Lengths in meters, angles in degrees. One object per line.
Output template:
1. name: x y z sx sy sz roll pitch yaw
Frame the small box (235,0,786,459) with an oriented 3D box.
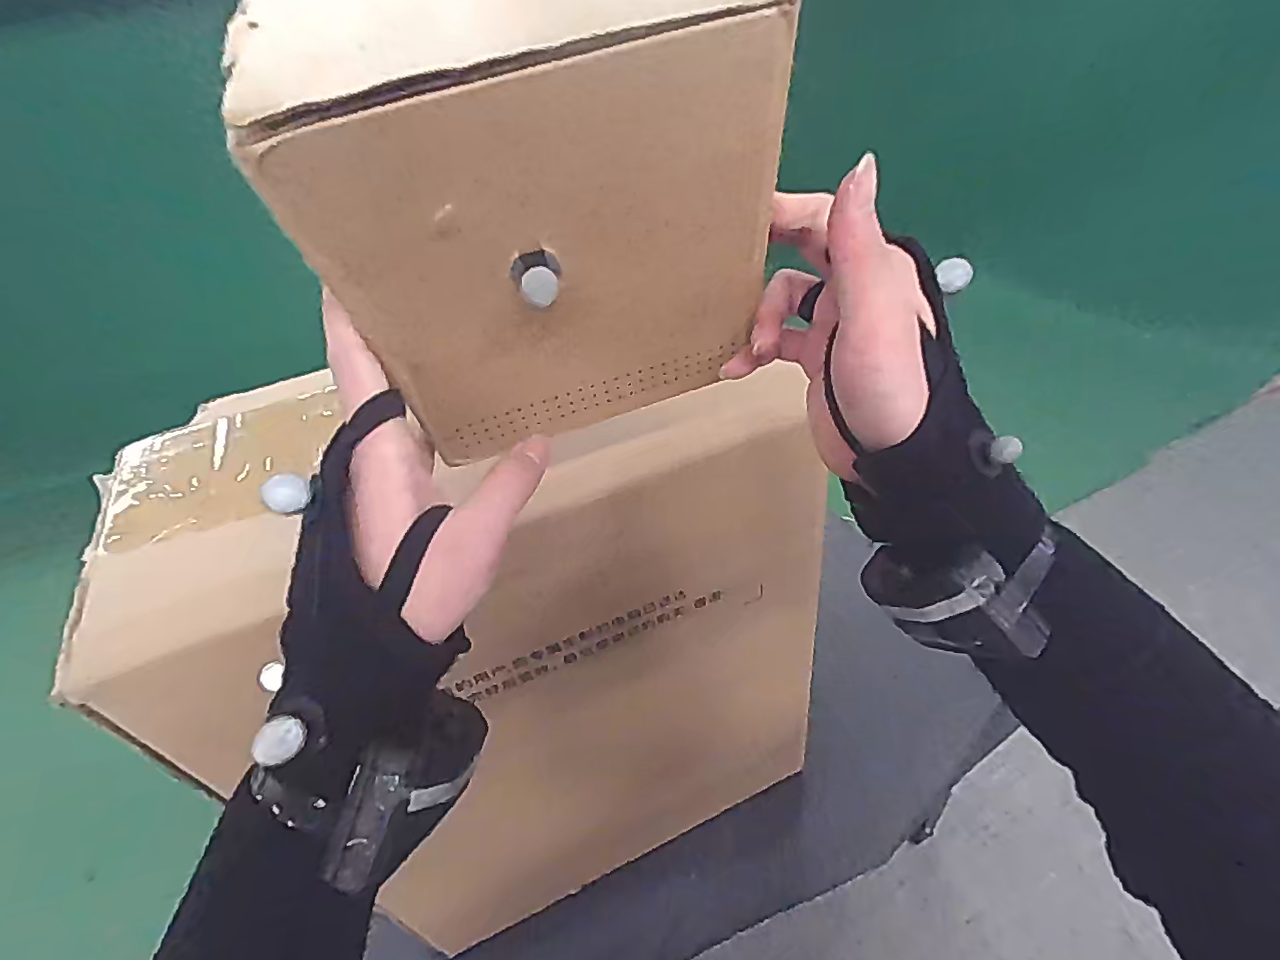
1. small box: -0.051 -0.135 0.269 0.179 0.176 0.168 -20 59 -6
